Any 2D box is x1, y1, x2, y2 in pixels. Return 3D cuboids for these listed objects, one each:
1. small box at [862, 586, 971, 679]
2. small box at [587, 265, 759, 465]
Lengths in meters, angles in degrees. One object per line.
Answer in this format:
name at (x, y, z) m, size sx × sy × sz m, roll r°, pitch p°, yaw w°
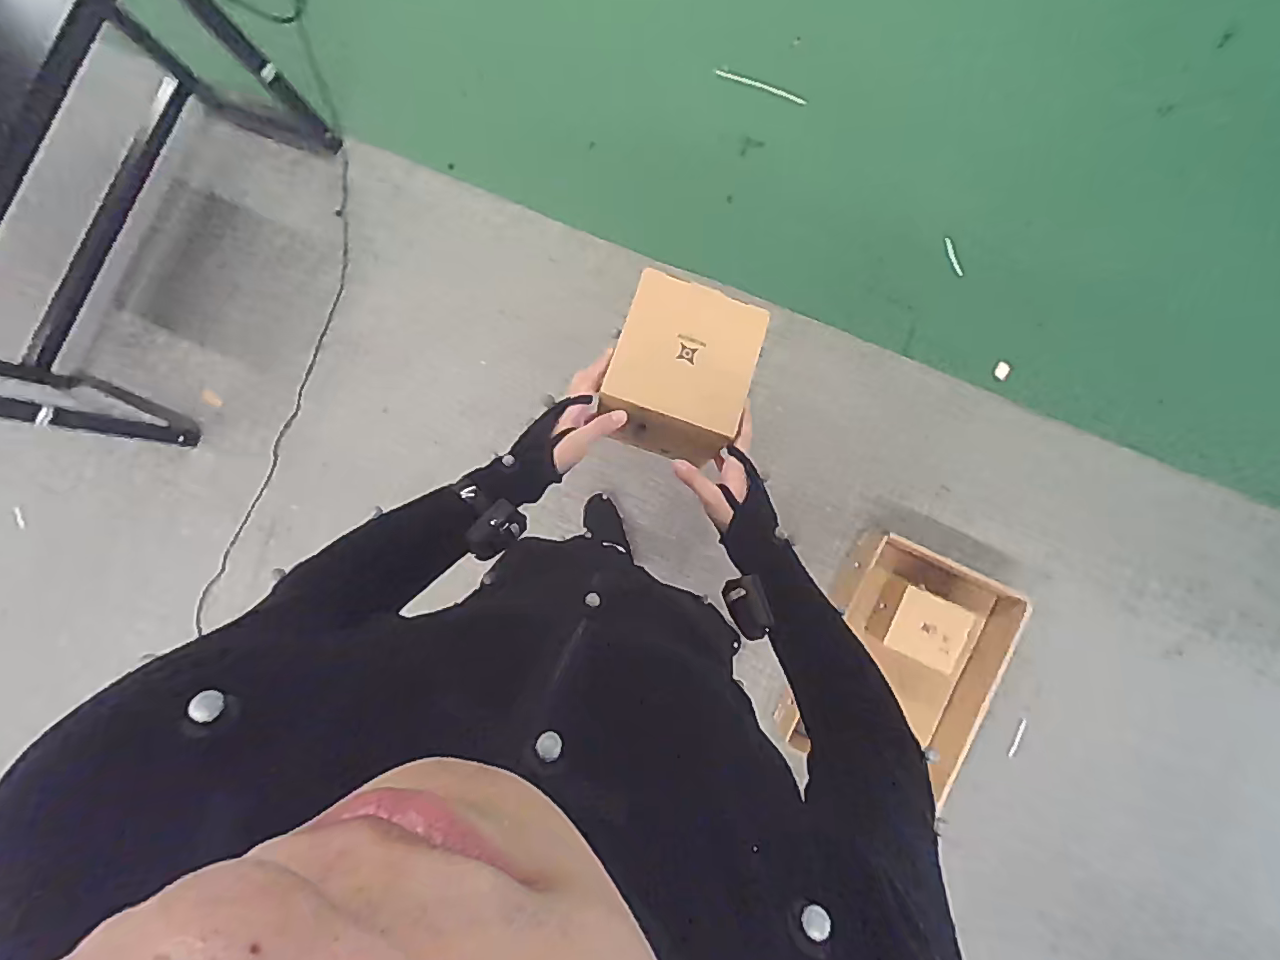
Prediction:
small box at (0.711, 0.388, 1.414) m, size 0.179 × 0.176 × 0.168 m, roll 25°, pitch 88°, yaw 7°
small box at (0.034, -0.136, 0.707) m, size 0.168 × 0.176 × 0.179 m, roll 18°, pitch 75°, yaw -3°
